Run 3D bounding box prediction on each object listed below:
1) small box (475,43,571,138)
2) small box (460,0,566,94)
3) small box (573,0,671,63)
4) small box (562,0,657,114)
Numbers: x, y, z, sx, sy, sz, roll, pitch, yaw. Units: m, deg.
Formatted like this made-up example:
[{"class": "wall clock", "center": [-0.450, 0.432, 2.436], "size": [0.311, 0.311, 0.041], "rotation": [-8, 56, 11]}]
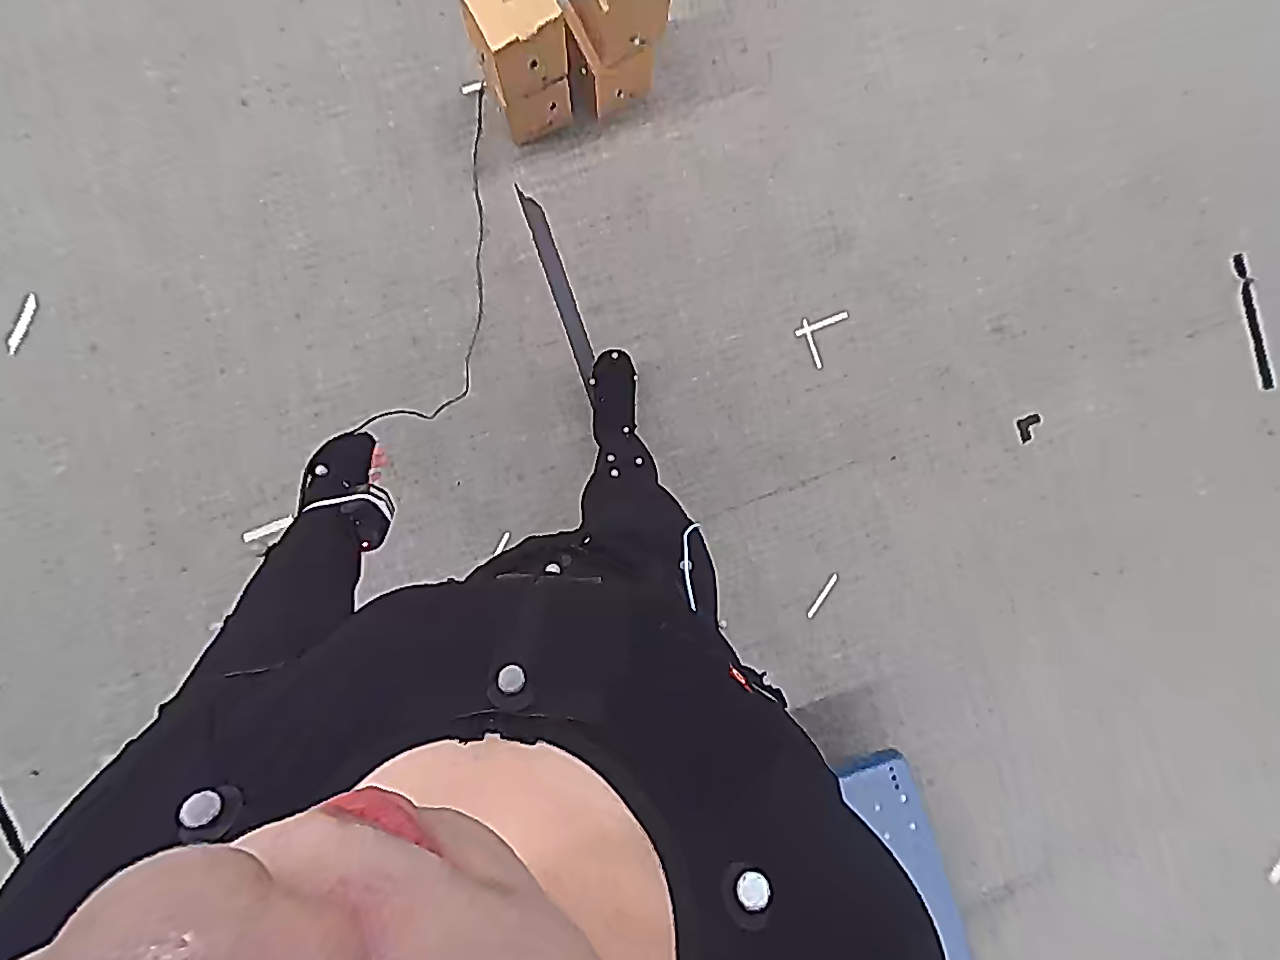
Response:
[{"class": "small box", "center": [-0.279, -0.979, 1.321], "size": [0.168, 0.176, 0.179], "rotation": [-25, 94, -2]}, {"class": "small box", "center": [-0.270, -0.975, 1.157], "size": [0.168, 0.176, 0.179], "rotation": [-29, 95, -2]}, {"class": "small box", "center": [-0.045, -1.065, 1.165], "size": [0.168, 0.176, 0.179], "rotation": [-28, 96, -1]}, {"class": "small box", "center": [-0.077, -1.059, 1.328], "size": [0.168, 0.176, 0.179], "rotation": [-29, 95, -1]}]
